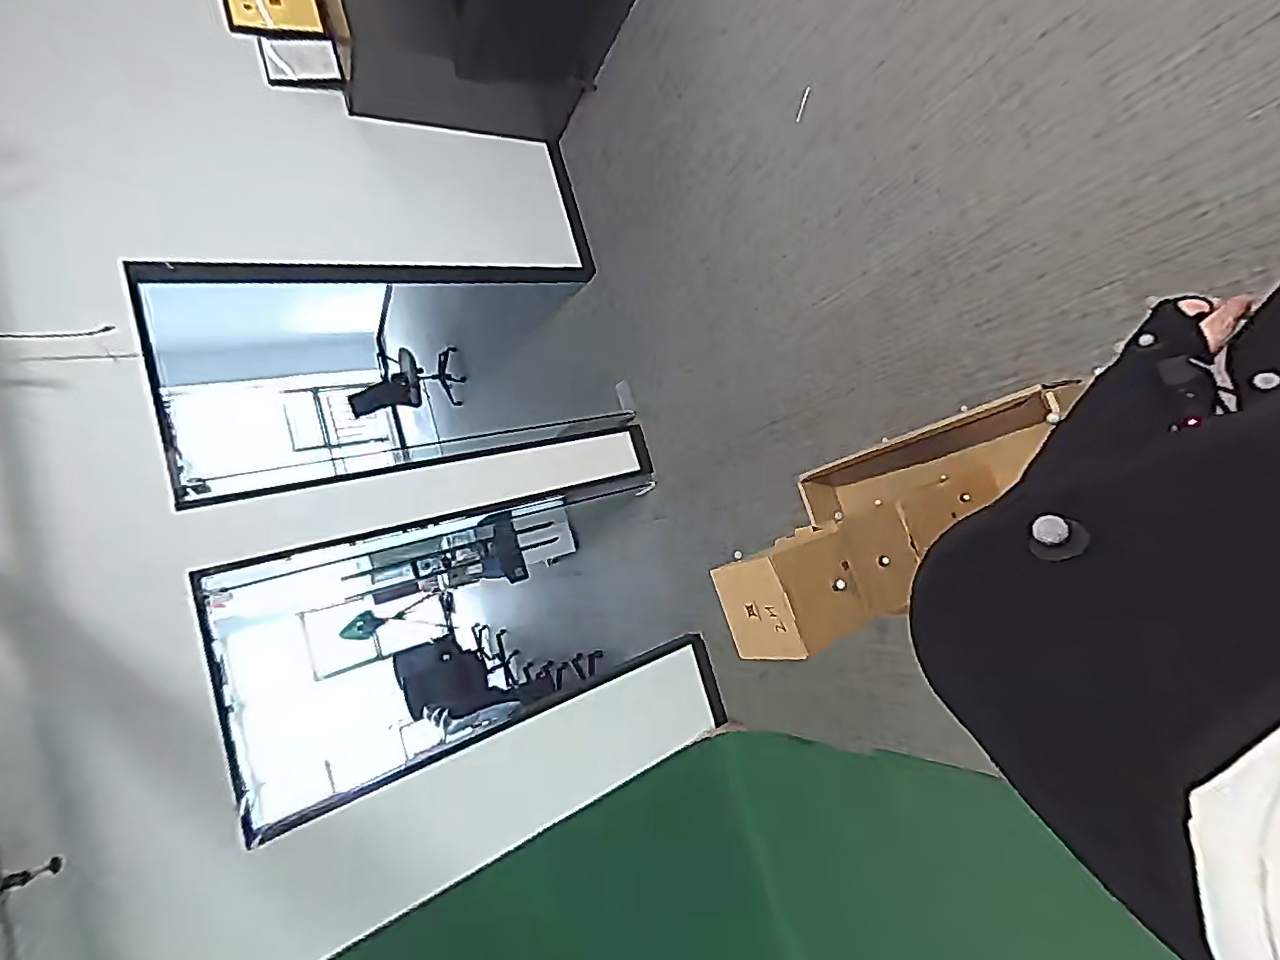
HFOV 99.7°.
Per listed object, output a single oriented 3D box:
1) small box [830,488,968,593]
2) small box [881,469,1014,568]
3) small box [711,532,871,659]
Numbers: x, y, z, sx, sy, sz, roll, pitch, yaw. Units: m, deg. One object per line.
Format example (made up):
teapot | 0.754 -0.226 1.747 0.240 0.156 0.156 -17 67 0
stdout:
small box | 0.533 0.124 1.106 0.179 0.176 0.168 -30 76 59
small box | 0.674 0.091 1.184 0.168 0.176 0.179 -31 75 59
small box | 0.259 0.200 0.940 0.179 0.176 0.168 -32 75 59
